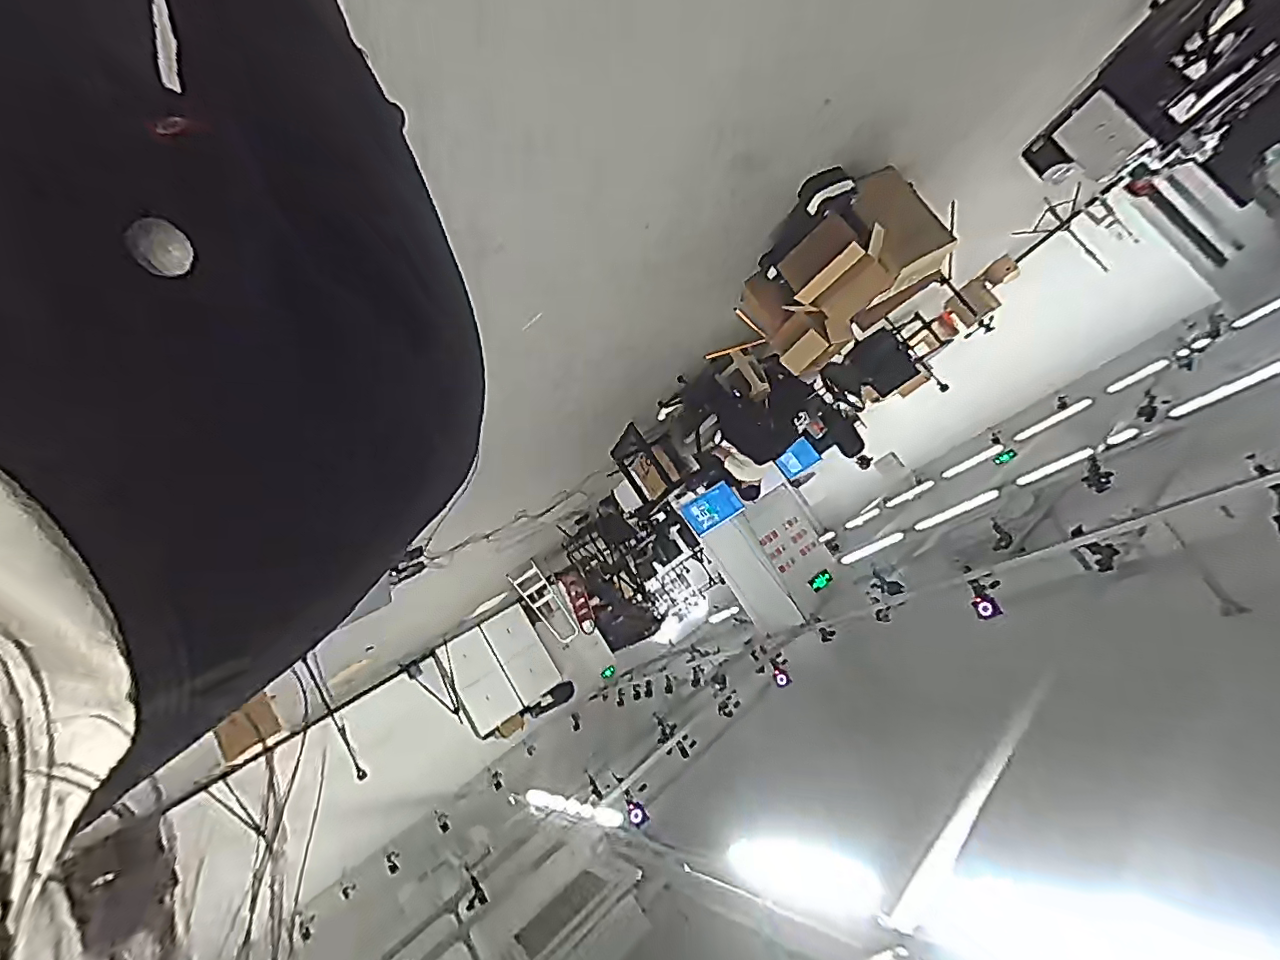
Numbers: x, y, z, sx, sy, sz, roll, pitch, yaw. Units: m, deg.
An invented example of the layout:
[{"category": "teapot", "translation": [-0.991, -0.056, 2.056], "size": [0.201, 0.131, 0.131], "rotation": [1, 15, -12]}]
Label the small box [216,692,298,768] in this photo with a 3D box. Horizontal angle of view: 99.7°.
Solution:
[{"category": "small box", "translation": [-1.292, 0.840, 1.826], "size": [0.168, 0.176, 0.179], "rotation": [-28, 168, -33]}]

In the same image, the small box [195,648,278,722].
[{"category": "small box", "translation": [-1.380, 0.703, 1.847], "size": [0.179, 0.176, 0.168], "rotation": [-28, 169, -35]}]
